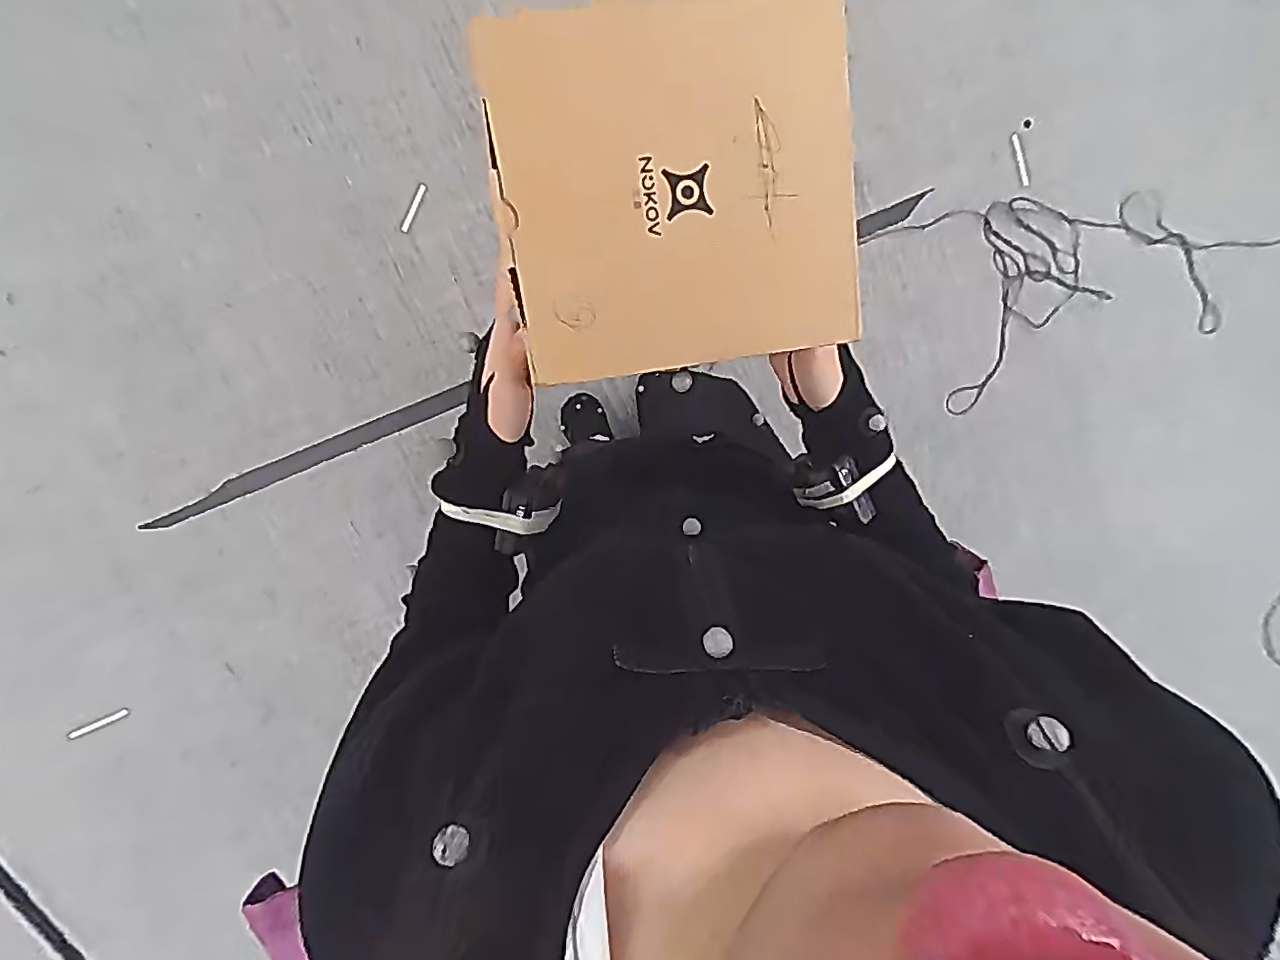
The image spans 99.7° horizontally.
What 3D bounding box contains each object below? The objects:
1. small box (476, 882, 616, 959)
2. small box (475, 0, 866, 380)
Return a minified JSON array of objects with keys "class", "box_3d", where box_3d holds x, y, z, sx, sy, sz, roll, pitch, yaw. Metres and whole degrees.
[{"class":"small box","box_3d":[-0.128,0.733,0.767,0.168,0.176,0.179,-22,101,-4]},{"class":"small box","box_3d":[0.016,-0.157,0.341,0.179,0.176,0.168,-10,103,-3]}]
